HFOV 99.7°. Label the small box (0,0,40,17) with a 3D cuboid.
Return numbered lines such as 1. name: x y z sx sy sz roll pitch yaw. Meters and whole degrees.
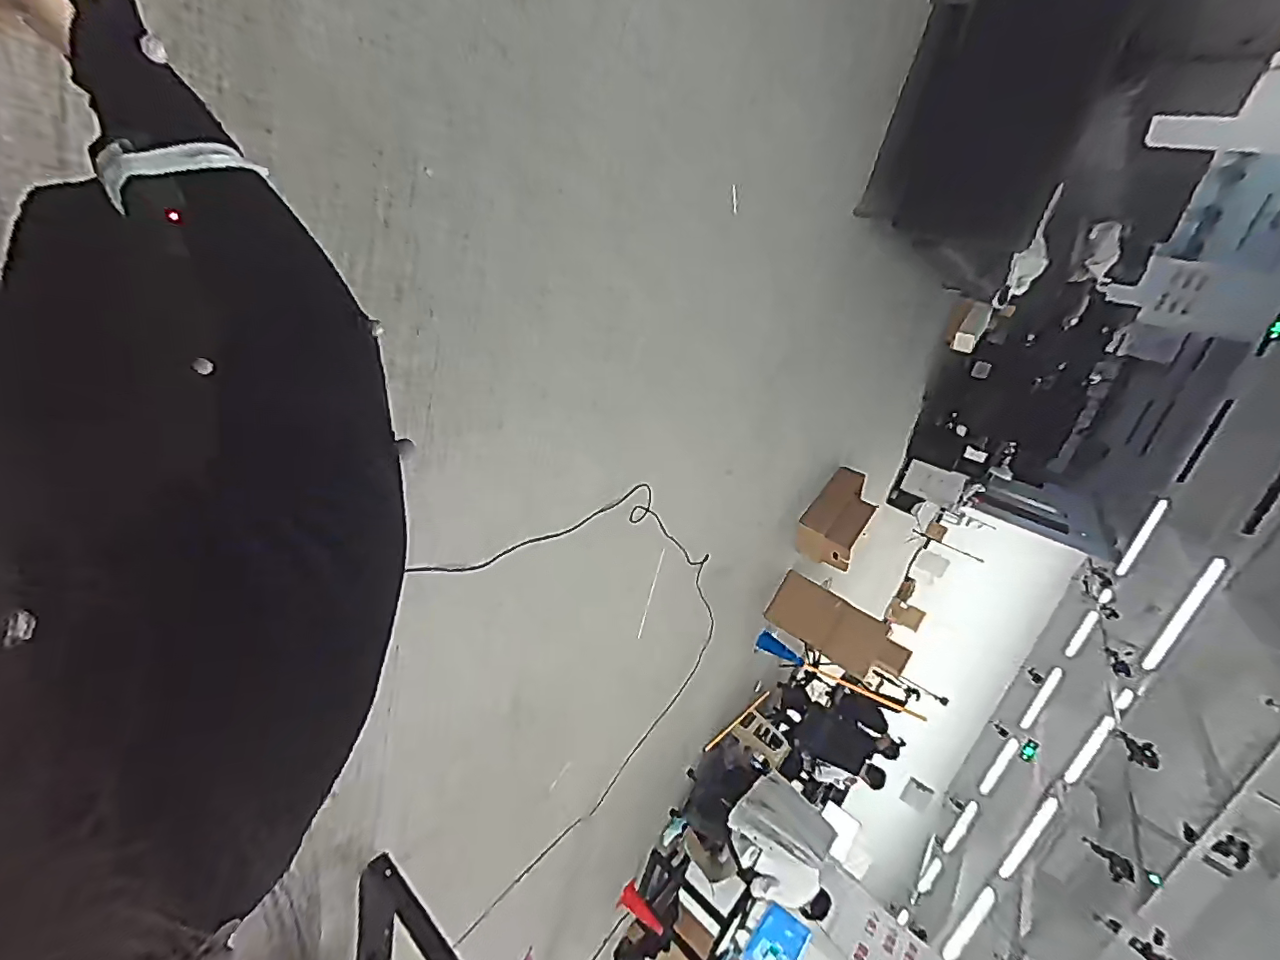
1. small box: -0.510 -0.443 0.339 0.168 0.176 0.179 -5 114 -54
